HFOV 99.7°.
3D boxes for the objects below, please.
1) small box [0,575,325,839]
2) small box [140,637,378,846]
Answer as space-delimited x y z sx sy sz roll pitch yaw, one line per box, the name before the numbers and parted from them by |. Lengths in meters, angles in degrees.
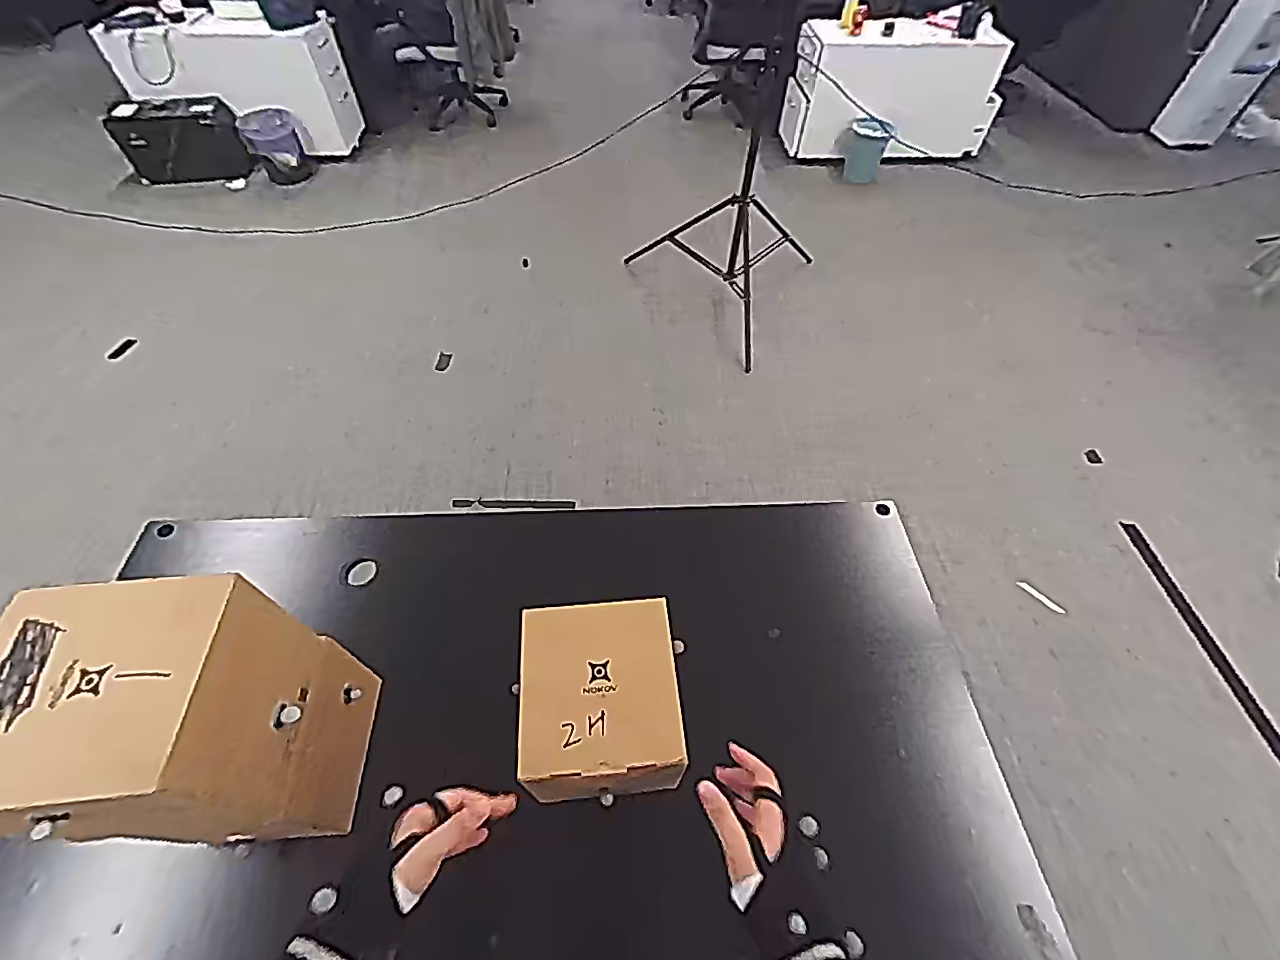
small box | -0.416 0.201 0.470 0.179 0.176 0.168 -5 53 -5
small box | -0.416 0.295 0.605 0.168 0.176 0.179 -4 54 -3
